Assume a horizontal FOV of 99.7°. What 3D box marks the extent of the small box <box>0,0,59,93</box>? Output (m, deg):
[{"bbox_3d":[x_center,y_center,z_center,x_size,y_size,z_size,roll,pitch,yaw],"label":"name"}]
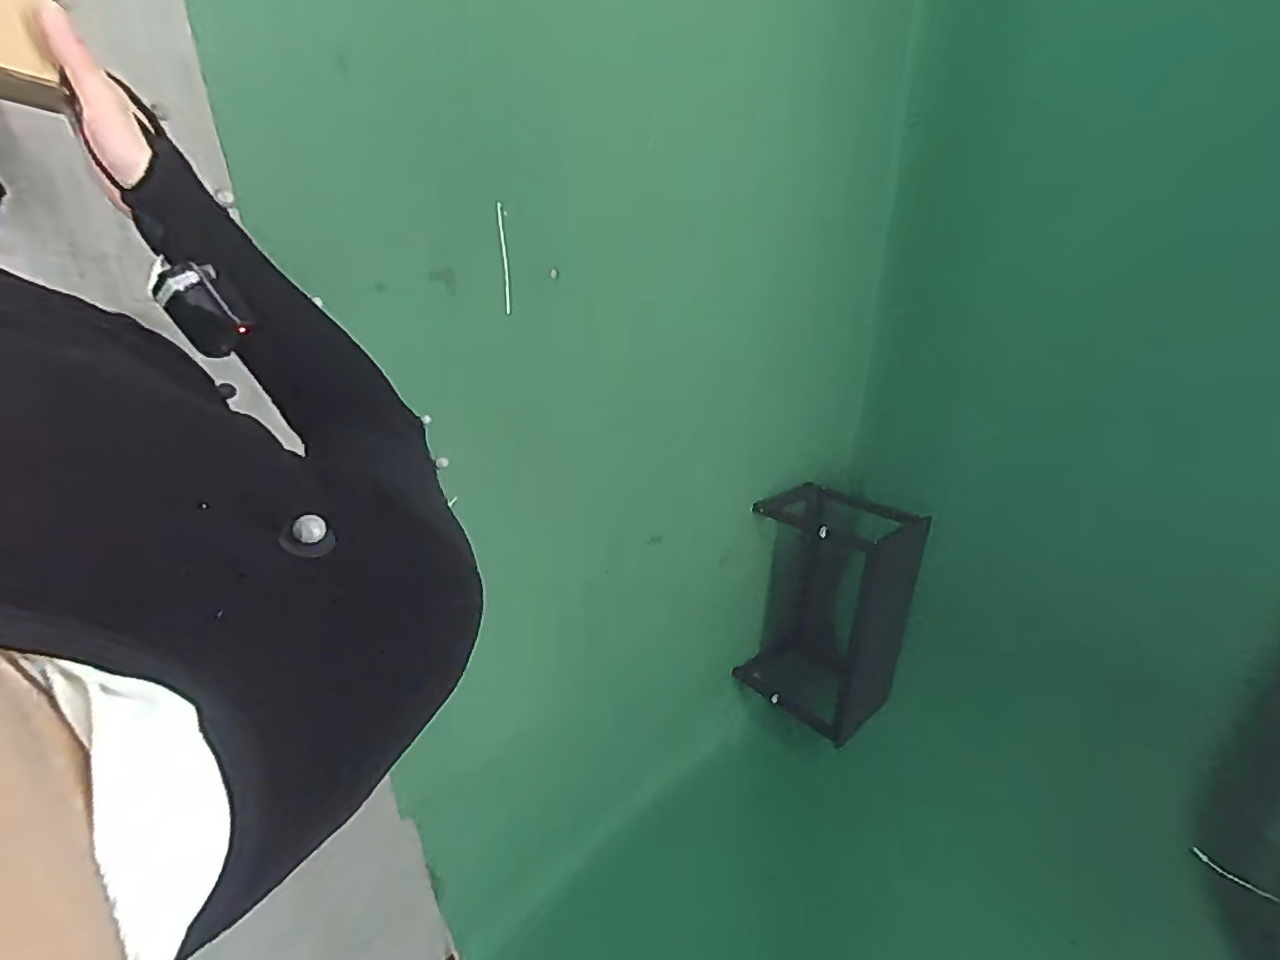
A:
[{"bbox_3d":[-0.509,-0.382,0.349,0.168,0.176,0.179,-9,117,-43],"label":"small box"}]
